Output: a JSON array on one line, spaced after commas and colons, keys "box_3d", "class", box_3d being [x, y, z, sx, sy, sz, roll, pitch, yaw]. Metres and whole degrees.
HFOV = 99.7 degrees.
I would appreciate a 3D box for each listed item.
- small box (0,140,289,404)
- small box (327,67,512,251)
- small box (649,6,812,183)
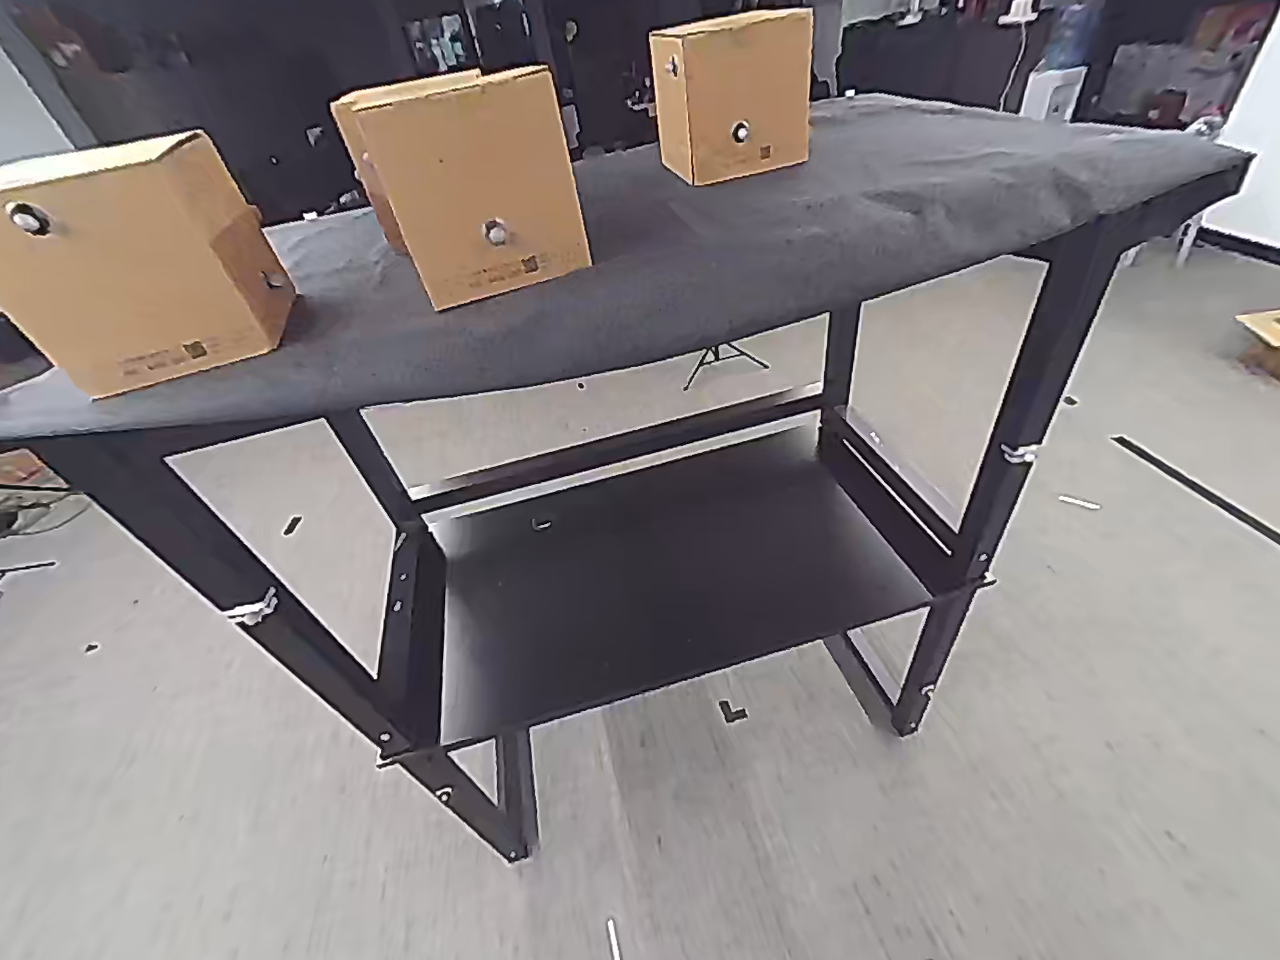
[{"box_3d": [-0.462, -0.197, 0.505, 0.168, 0.176, 0.179, -20, 42, -10], "class": "small box"}, {"box_3d": [-0.270, -0.416, 0.710, 0.168, 0.176, 0.179, -13, 42, -3], "class": "small box"}, {"box_3d": [0.119, -0.530, 0.748, 0.168, 0.176, 0.179, -15, 42, -4], "class": "small box"}]
